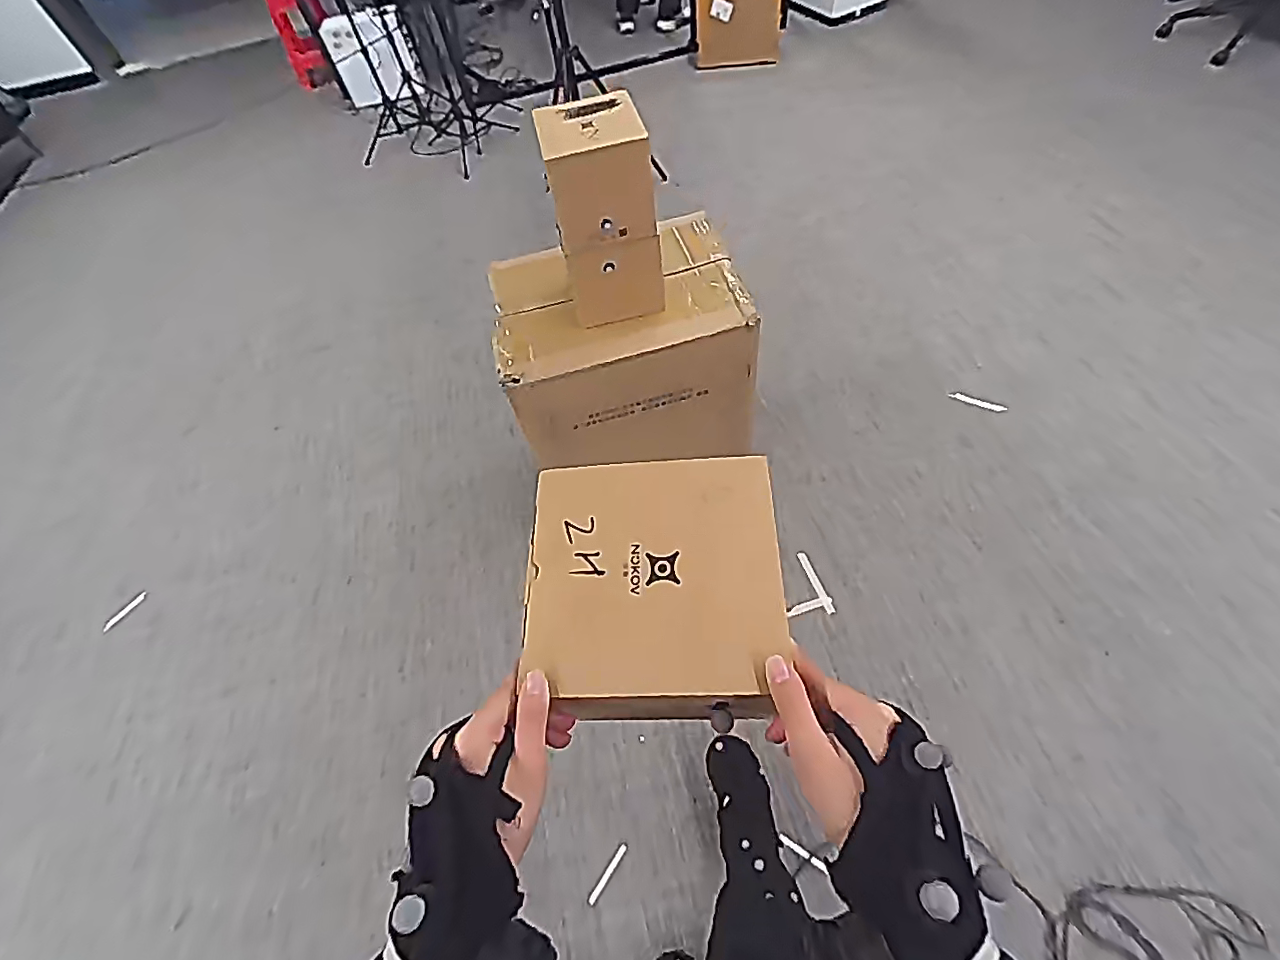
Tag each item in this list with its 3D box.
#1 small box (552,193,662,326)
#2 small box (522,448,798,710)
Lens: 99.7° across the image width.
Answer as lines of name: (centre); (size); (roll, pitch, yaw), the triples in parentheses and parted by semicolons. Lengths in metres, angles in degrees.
small box: (-0.063, -0.430, 1.073); (0.179, 0.176, 0.168); (-14, 56, -2)
small box: (0.021, 0.090, 0.442); (0.179, 0.176, 0.168); (-4, 61, 7)
